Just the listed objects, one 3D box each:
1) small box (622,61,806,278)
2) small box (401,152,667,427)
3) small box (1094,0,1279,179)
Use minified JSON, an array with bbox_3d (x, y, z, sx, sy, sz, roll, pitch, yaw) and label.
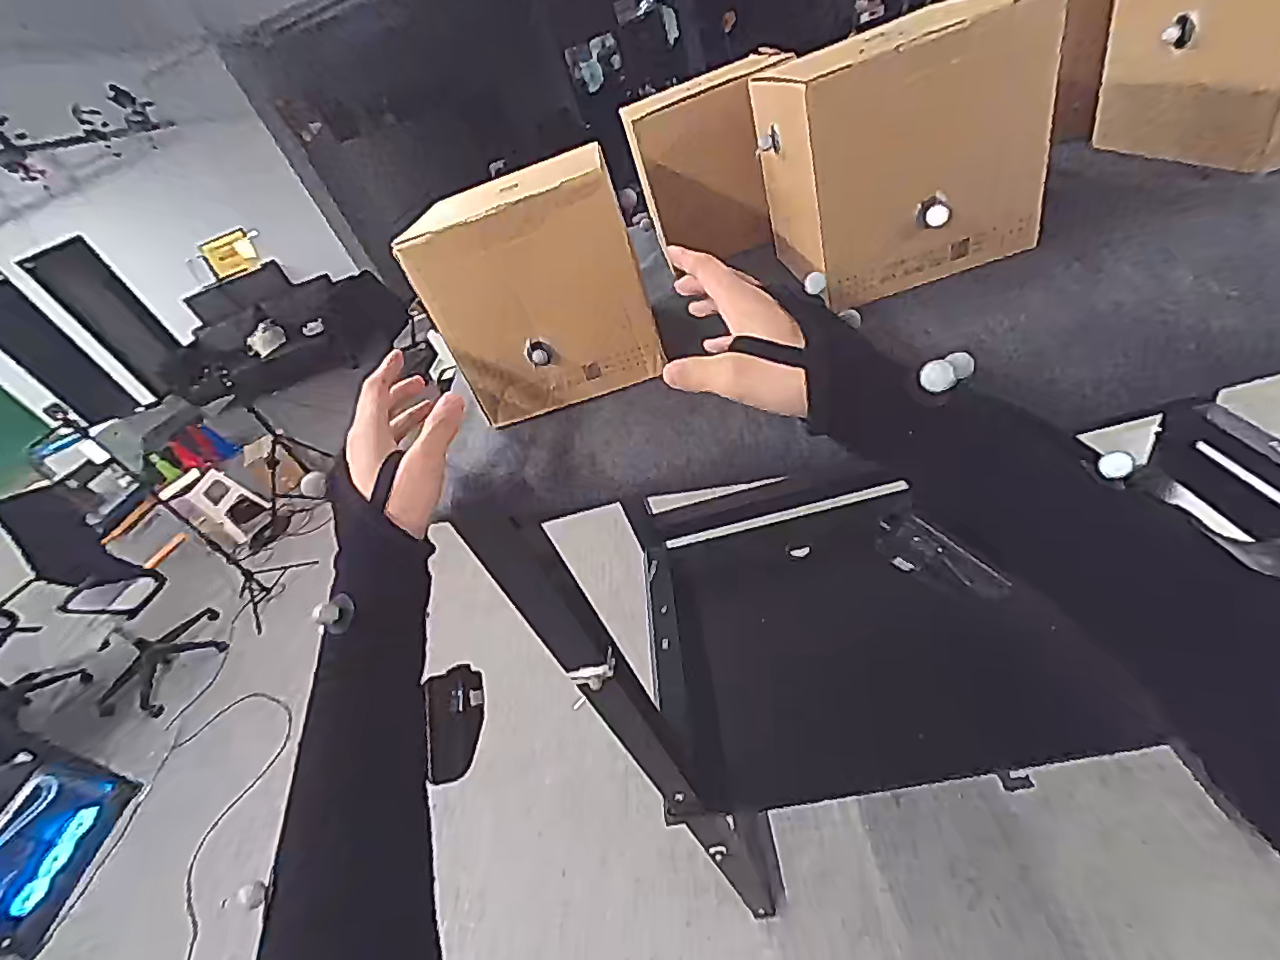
[{"bbox_3d":[0.090,-0.371,0.650,0.179,0.176,0.168,-17,38,7],"label":"small box"},{"bbox_3d":[-0.081,-0.176,0.499,0.168,0.176,0.179,-17,37,6],"label":"small box"},{"bbox_3d":[0.509,-0.358,0.420,0.168,0.176,0.179,-17,37,8],"label":"small box"}]
